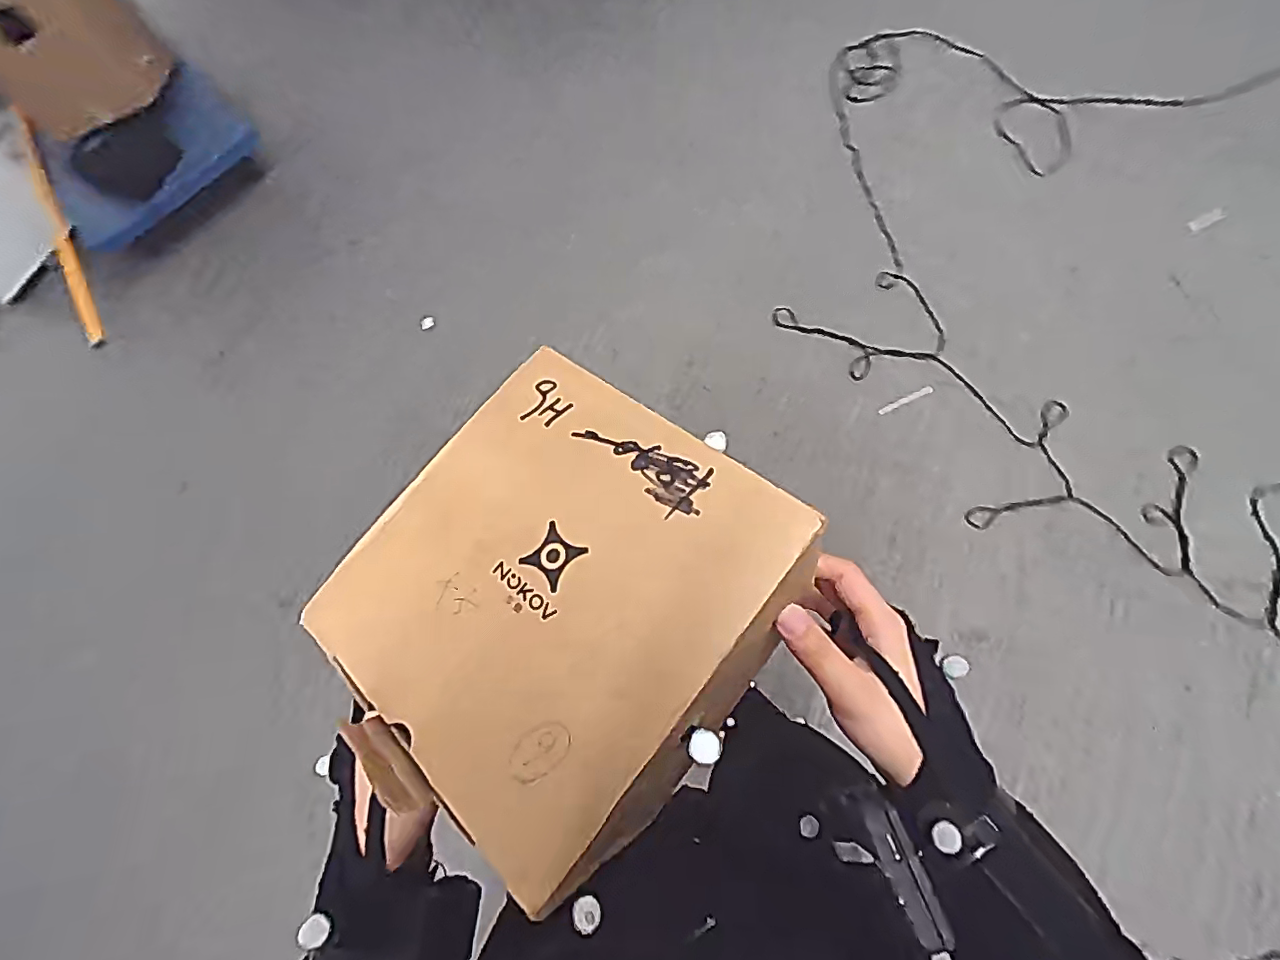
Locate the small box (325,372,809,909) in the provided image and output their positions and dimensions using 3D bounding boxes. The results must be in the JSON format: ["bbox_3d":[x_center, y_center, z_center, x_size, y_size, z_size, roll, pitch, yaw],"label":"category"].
[{"bbox_3d":[-0.021,0.080,0.311,0.168,0.176,0.179,36,80,25],"label":"small box"}]
